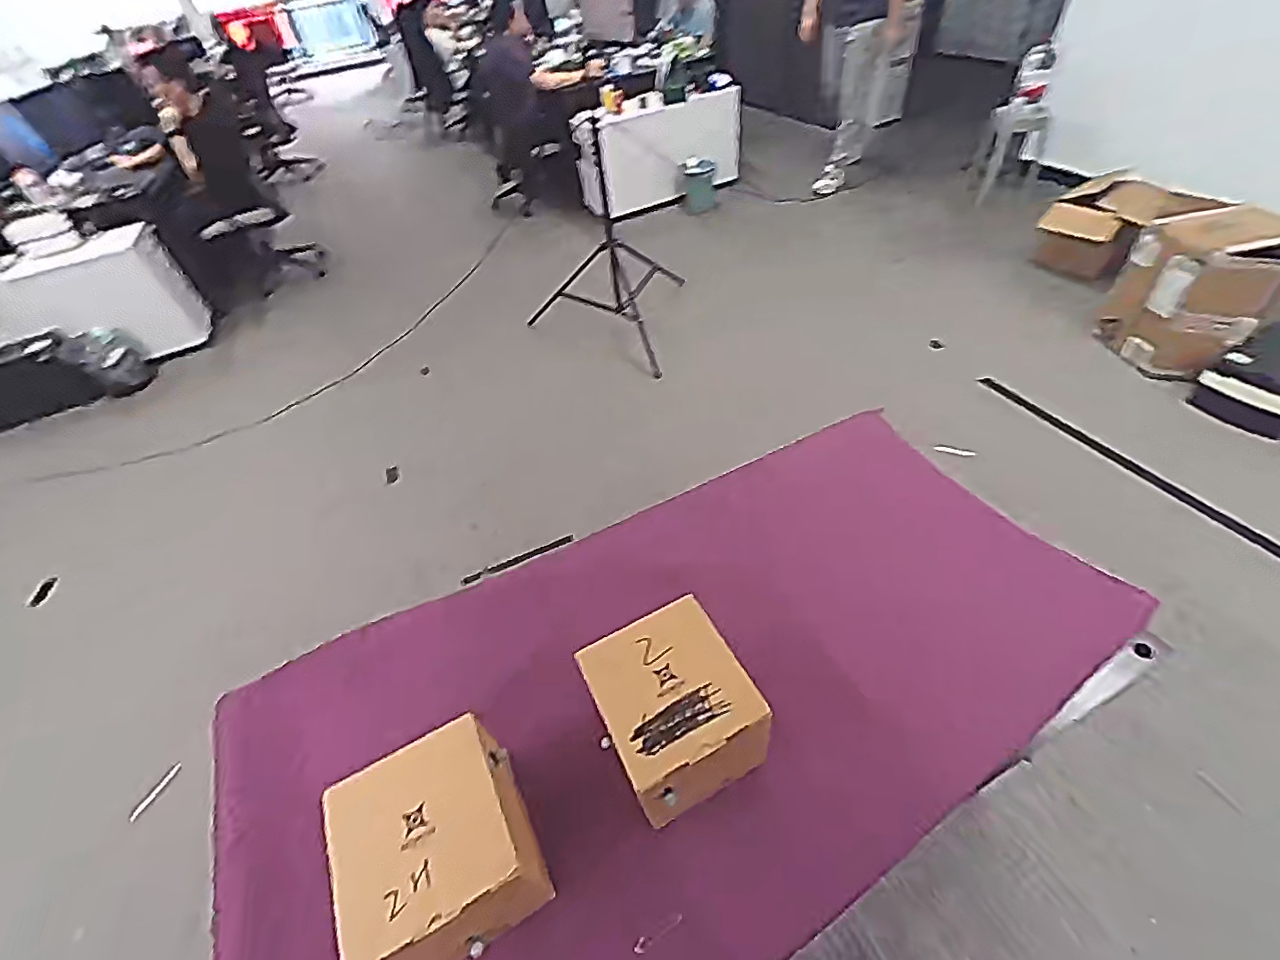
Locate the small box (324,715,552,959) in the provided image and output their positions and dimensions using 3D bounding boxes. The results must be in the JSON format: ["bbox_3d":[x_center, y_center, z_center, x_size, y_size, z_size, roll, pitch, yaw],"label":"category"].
[{"bbox_3d":[-0.214,0.403,0.592,0.168,0.176,0.179,-25,48,-16],"label":"small box"}]
